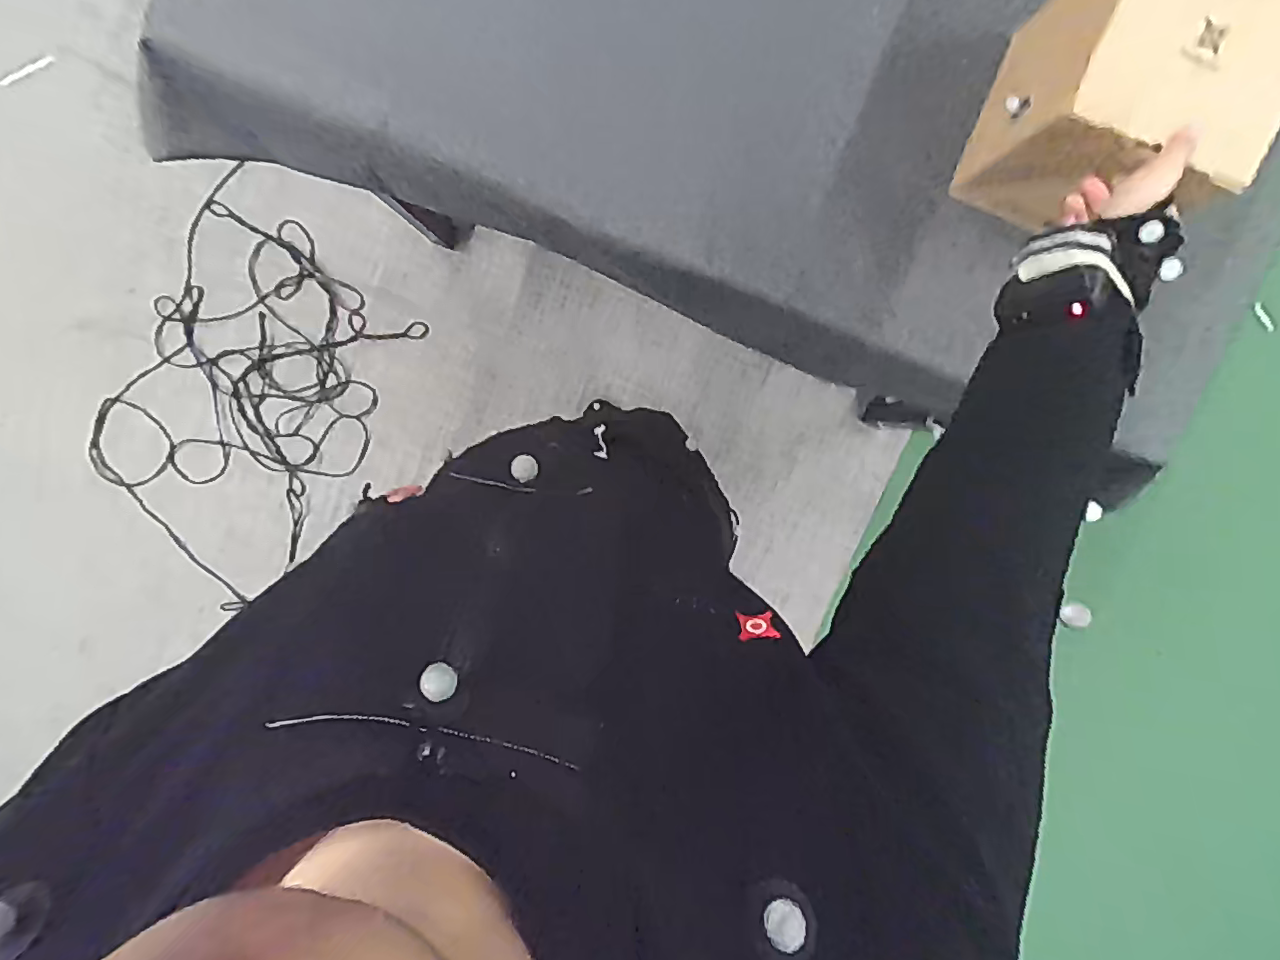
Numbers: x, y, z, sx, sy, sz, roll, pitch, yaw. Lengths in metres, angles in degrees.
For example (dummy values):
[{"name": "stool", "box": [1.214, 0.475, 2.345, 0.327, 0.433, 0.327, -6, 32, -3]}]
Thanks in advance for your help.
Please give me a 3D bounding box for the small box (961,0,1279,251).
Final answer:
[{"name": "small box", "box": [0.441, -0.341, 0.501, 0.168, 0.176, 0.179, 20, 95, -4]}]
